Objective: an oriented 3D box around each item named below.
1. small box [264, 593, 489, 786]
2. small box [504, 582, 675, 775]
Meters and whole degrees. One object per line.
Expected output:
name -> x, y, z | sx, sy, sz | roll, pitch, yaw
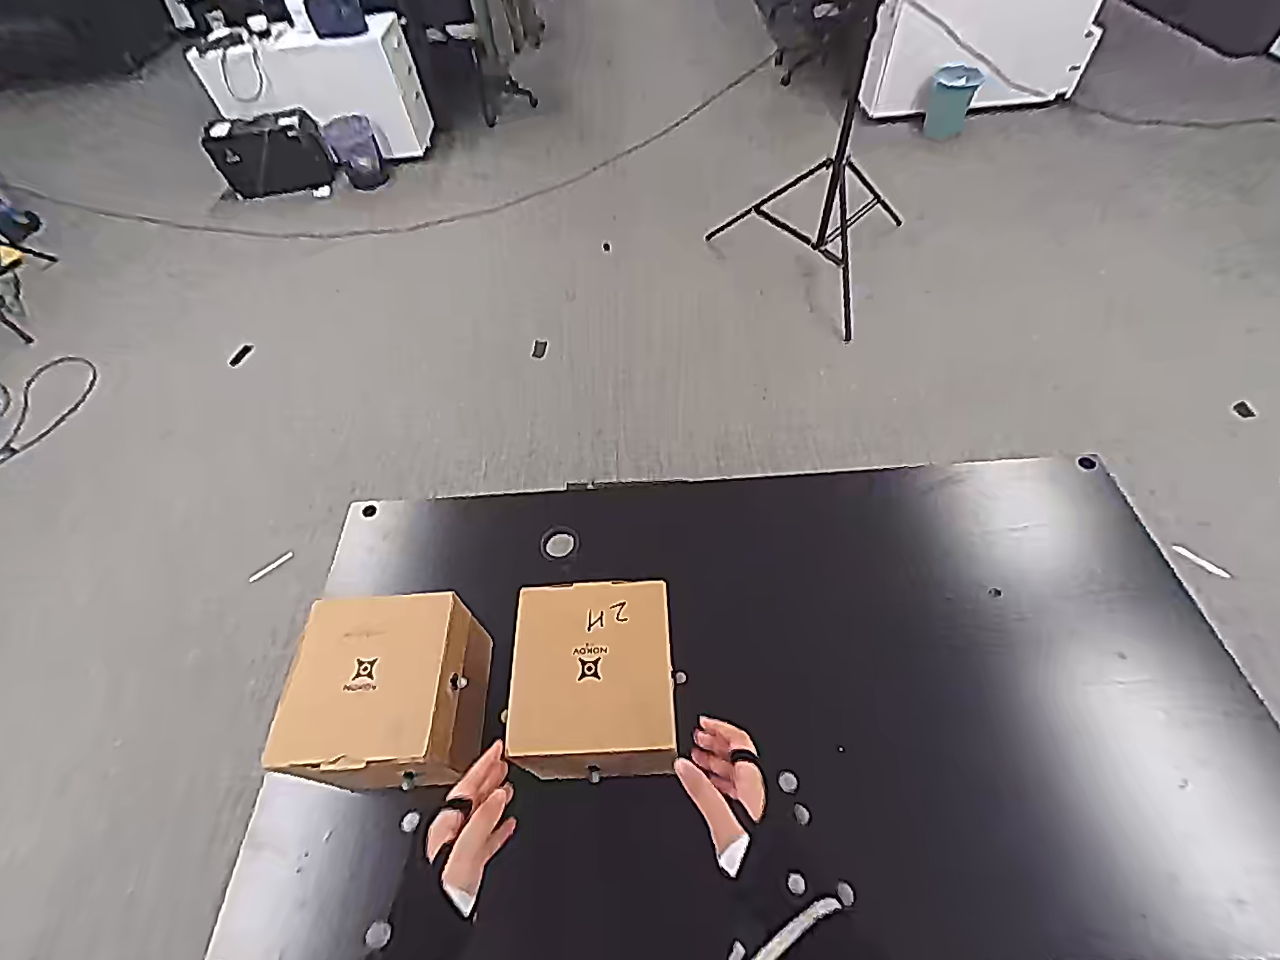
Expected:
small box -> -0.285, 0.252, 0.637 | 0.168, 0.176, 0.179 | -4, 53, 0
small box -> -0.046, 0.236, 0.625 | 0.168, 0.176, 0.179 | -3, 54, 2
